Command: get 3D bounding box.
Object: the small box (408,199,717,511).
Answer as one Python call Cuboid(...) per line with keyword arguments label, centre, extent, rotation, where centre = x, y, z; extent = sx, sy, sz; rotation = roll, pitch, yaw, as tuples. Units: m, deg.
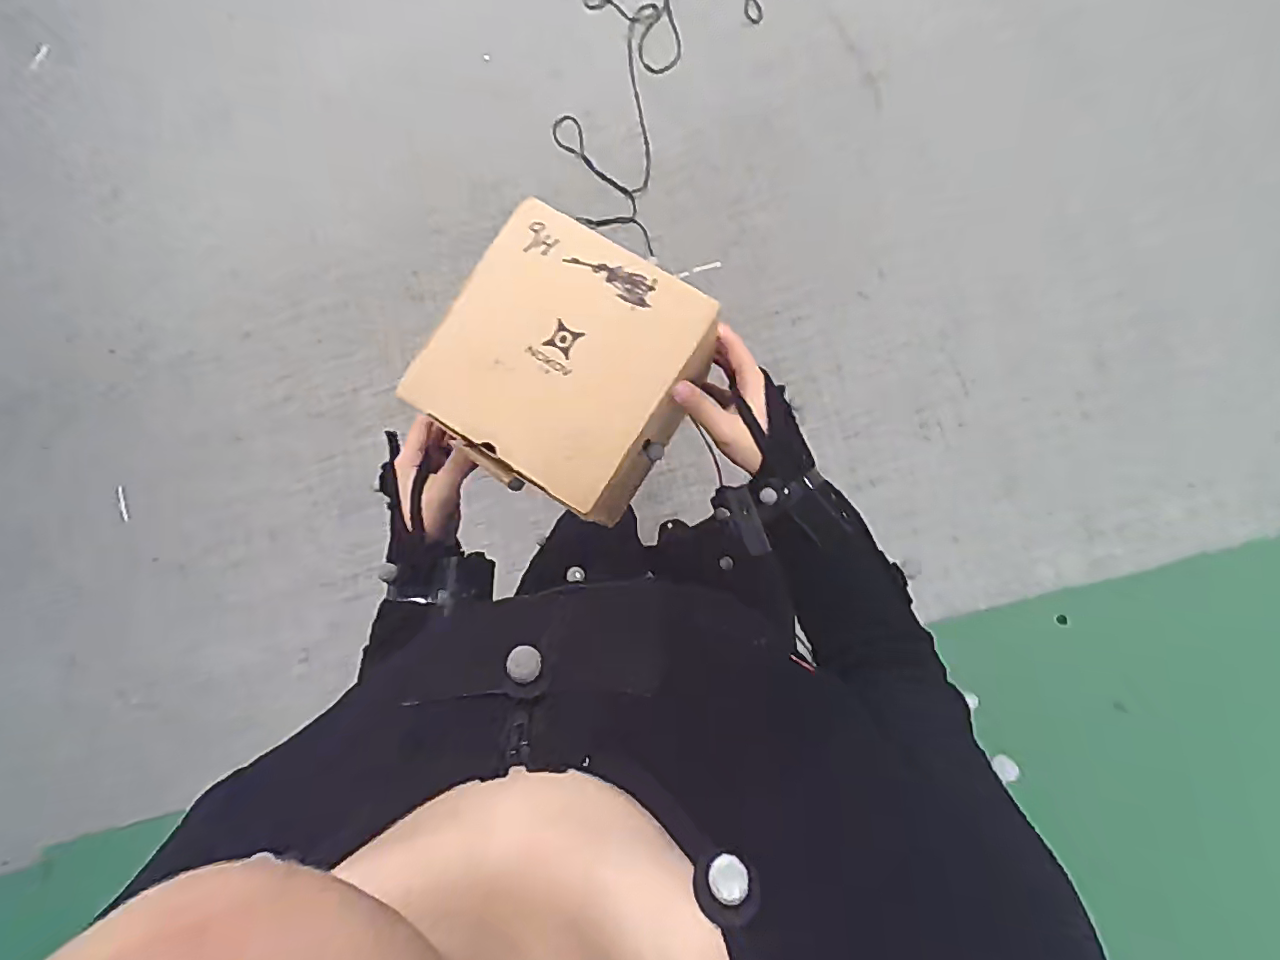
Cuboid(label="small box", centre=(-0.049, -0.084, 0.461), extent=(0.168, 0.176, 0.179), rotation=(31, 88, 7))
